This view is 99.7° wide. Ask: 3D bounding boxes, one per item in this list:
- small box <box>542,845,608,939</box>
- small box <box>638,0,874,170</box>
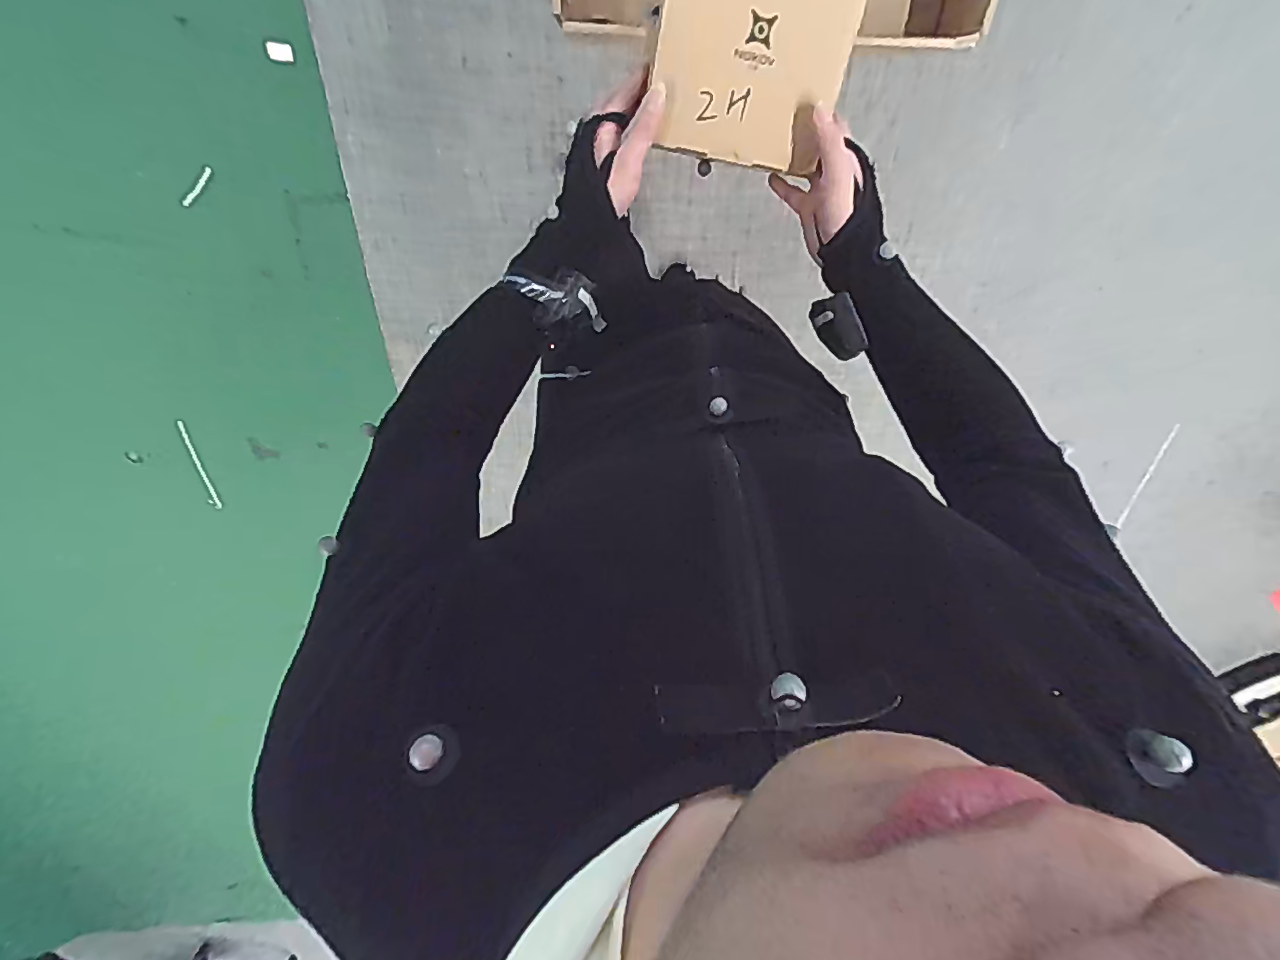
[{"bbox_3d":[-0.184,1.196,1.574,0.179,0.176,0.168,-2,123,-3],"label":"small box"},{"bbox_3d":[0.096,-0.410,0.510,0.168,0.176,0.179,7,121,-10],"label":"small box"}]
